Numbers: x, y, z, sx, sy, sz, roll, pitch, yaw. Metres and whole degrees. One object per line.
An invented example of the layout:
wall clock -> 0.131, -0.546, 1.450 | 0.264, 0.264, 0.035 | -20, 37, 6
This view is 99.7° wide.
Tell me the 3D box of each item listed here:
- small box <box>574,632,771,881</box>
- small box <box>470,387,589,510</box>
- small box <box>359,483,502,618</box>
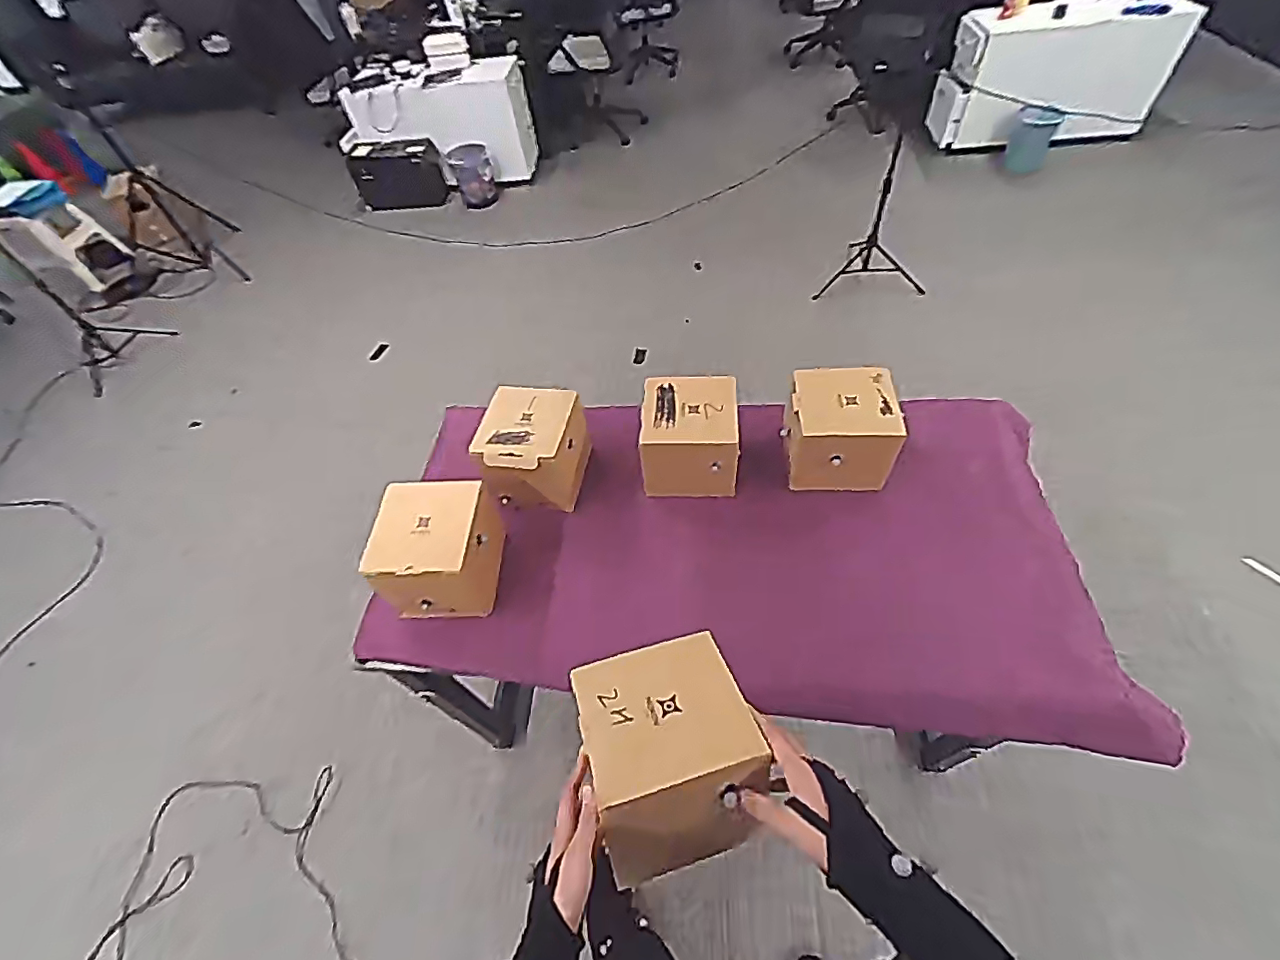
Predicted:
small box -> 0.032, 0.308, 0.613 | 0.179, 0.176, 0.168 | -13, 32, -9
small box -> -0.204, -0.058, 1.061 | 0.168, 0.176, 0.179 | 5, 54, 9
small box -> -0.346, 0.124, 0.937 | 0.168, 0.176, 0.179 | -2, 53, 3
